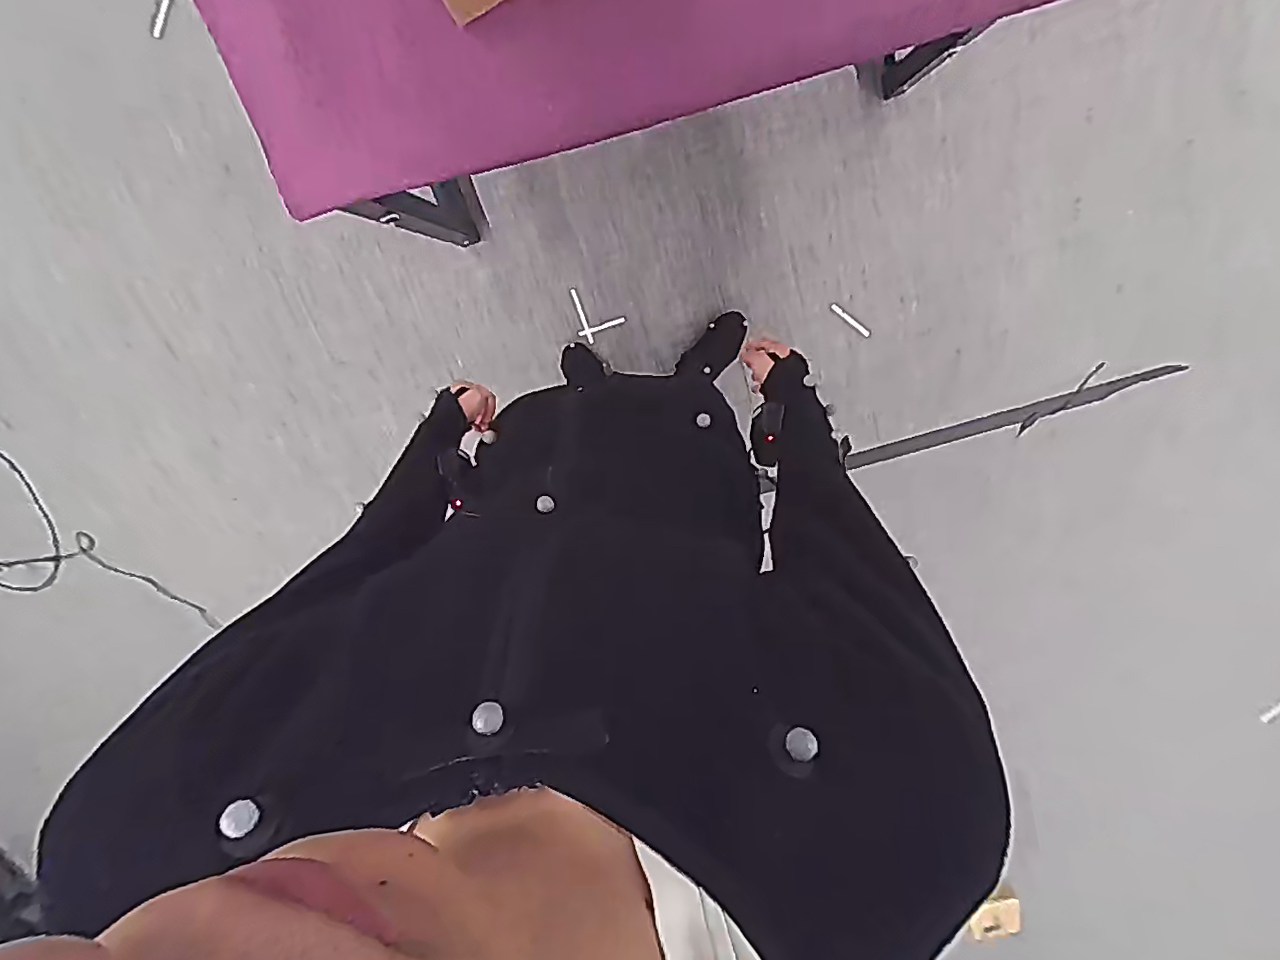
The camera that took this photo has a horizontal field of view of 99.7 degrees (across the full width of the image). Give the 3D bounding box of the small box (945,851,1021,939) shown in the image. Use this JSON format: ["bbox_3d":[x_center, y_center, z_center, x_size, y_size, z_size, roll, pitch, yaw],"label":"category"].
[{"bbox_3d":[1.204,1.456,1.902,0.168,0.176,0.179,-14,108,3],"label":"small box"}]
